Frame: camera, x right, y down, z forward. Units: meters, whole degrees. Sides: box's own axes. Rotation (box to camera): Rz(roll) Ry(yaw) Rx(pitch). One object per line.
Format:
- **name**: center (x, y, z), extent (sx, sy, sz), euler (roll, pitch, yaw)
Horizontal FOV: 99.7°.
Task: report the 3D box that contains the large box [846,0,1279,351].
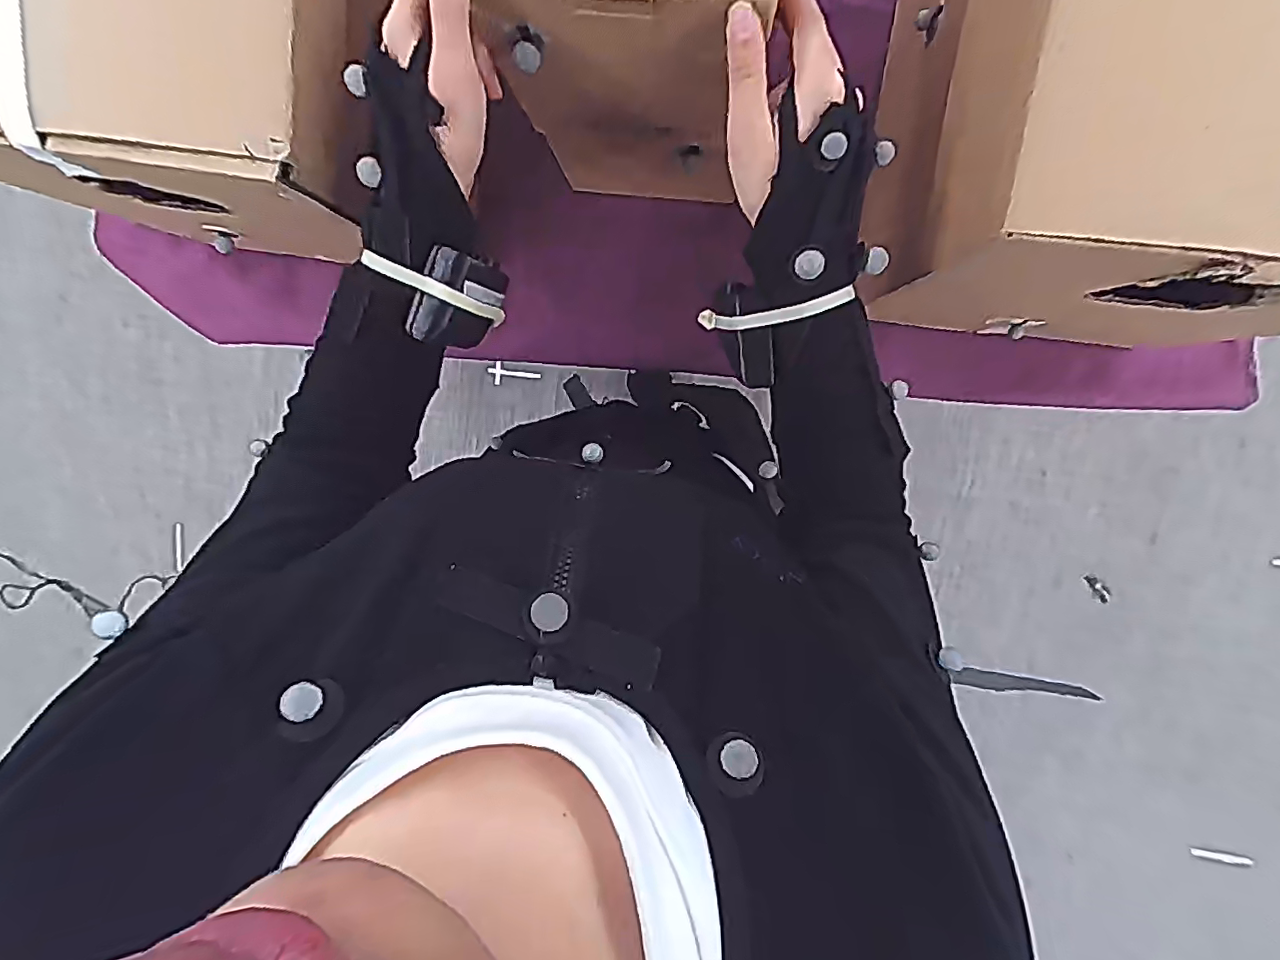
- **large box**: center (0.373, -0.323, 0.399), extent (0.320, 0.320, 0.408), euler (7, 98, 3)
